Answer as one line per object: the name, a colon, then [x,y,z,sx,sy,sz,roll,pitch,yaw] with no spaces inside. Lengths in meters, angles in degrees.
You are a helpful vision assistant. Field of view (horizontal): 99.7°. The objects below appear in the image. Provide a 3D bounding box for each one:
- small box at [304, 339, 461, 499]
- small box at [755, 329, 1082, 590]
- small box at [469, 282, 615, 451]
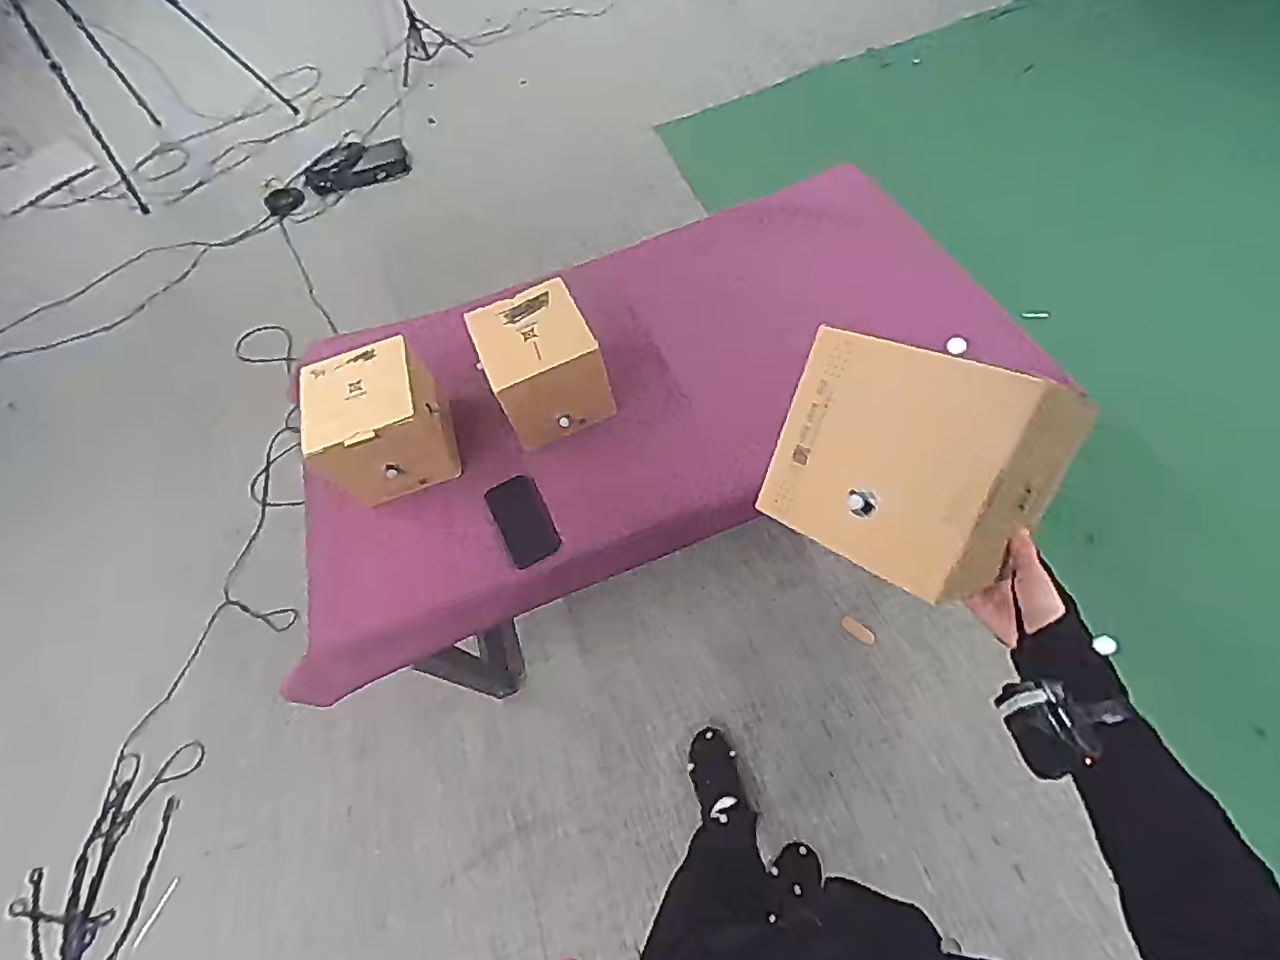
small box: [-0.405,-0.087,0.868,0.168,0.176,0.179,-19,61,-2]
small box: [0.229,-0.025,0.468,0.176,0.179,0.168,32,113,45]
small box: [-0.154,-0.180,0.882,0.168,0.176,0.179,-24,61,-5]
